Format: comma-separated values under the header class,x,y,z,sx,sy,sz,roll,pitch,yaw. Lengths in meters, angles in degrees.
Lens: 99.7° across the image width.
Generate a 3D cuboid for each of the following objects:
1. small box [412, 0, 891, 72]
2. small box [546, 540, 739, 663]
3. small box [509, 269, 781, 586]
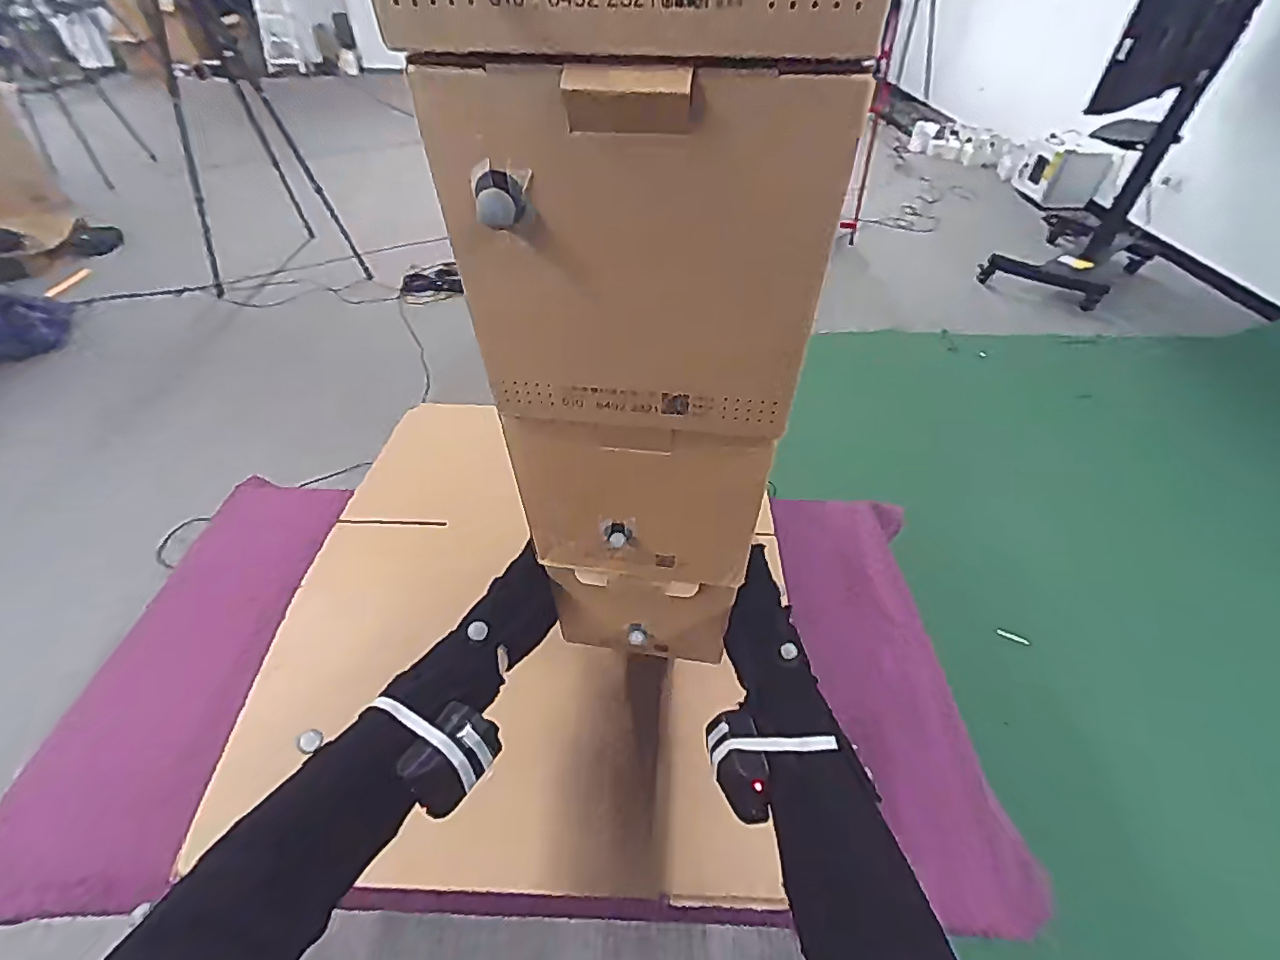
class,x,y,z,sx,sy,sz,roll,pitch,yaw
small box,0.008,-0.253,0.176,0.168,0.176,0.179,6,48,6
small box,0.016,0.061,0.556,0.168,0.176,0.179,7,50,8
small box,0.012,-0.041,0.429,0.168,0.176,0.179,6,50,6
